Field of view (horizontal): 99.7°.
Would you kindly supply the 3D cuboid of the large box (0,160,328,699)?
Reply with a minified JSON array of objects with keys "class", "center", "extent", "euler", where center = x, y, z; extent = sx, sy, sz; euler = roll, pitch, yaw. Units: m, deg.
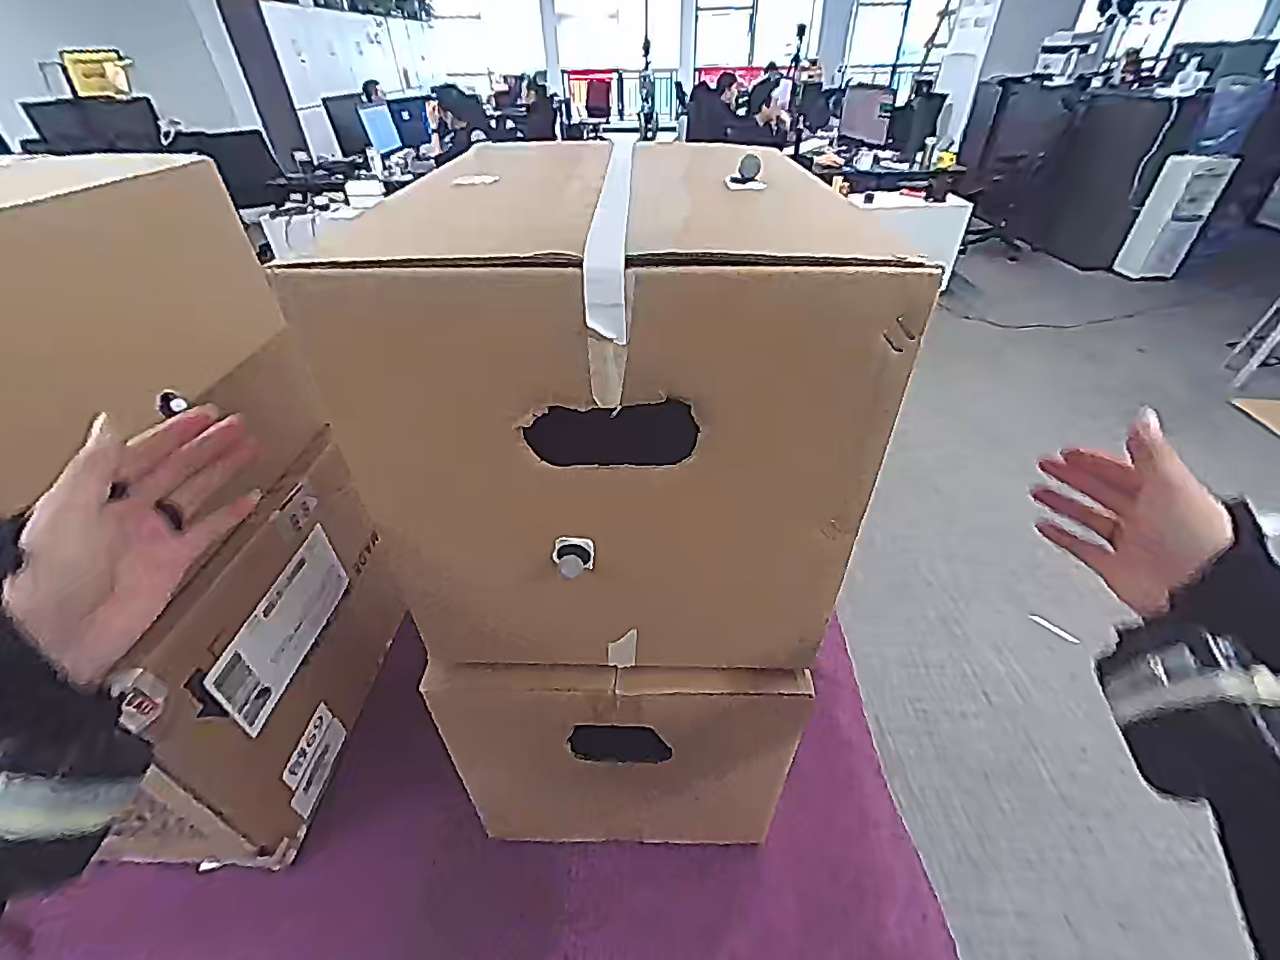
[{"class":"large box","center":[-0.560,-0.070,0.476],"extent":[0.320,0.320,0.408],"euler":[-2,39,2]}]
